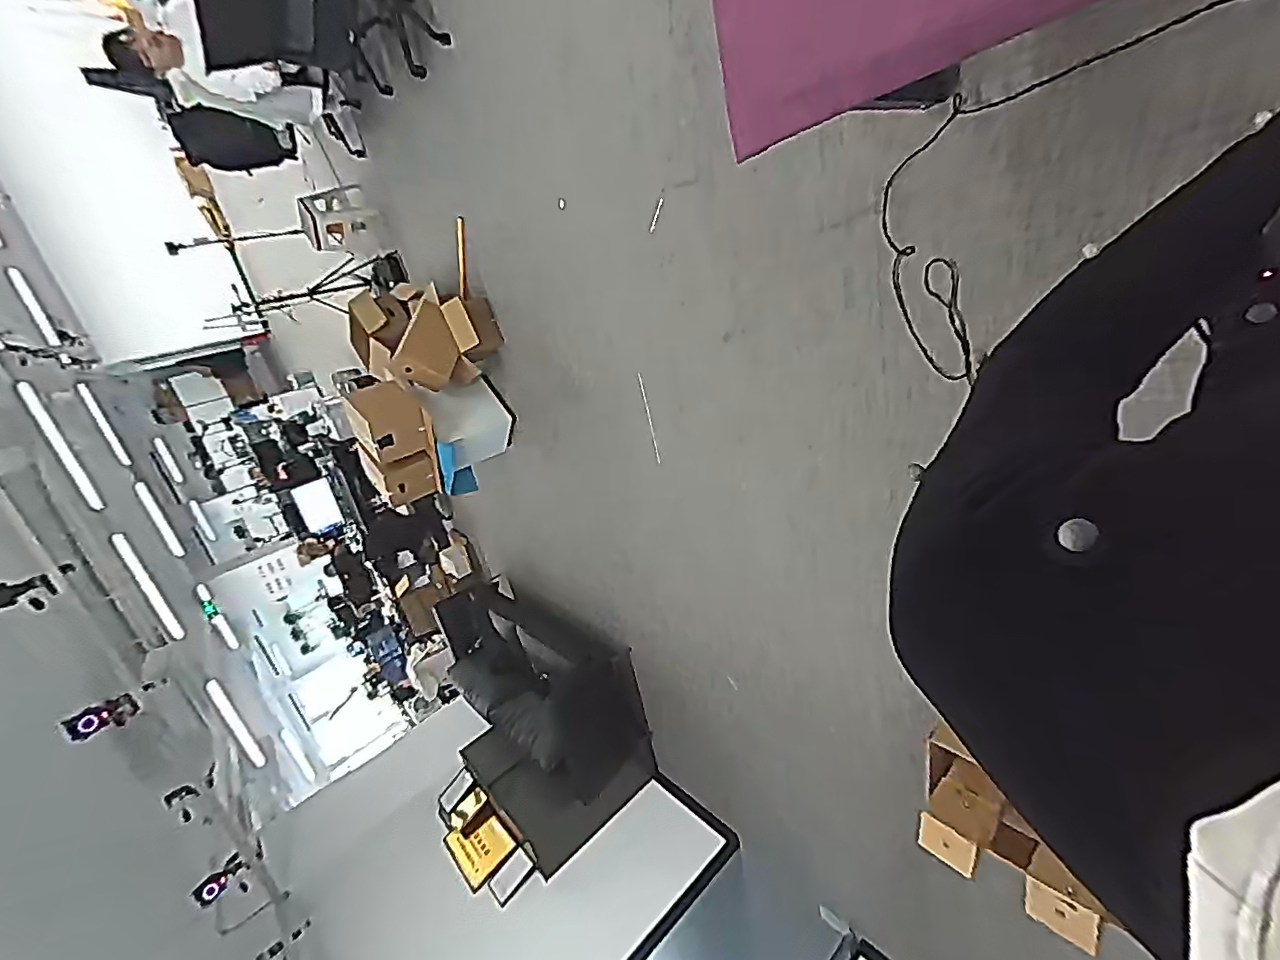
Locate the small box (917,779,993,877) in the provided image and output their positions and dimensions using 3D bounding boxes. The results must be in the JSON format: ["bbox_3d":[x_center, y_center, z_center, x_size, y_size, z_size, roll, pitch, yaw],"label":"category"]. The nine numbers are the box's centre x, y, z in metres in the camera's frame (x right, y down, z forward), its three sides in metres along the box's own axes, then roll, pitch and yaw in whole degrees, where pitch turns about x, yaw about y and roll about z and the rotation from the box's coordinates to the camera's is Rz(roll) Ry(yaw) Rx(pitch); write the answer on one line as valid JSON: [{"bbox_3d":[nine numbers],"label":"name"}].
[{"bbox_3d":[1.050,1.152,1.799,0.168,0.176,0.179,19,126,46],"label":"small box"}]

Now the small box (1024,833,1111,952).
[{"bbox_3d":[1.243,1.191,1.573,0.168,0.176,0.179,10,121,48],"label":"small box"}]
